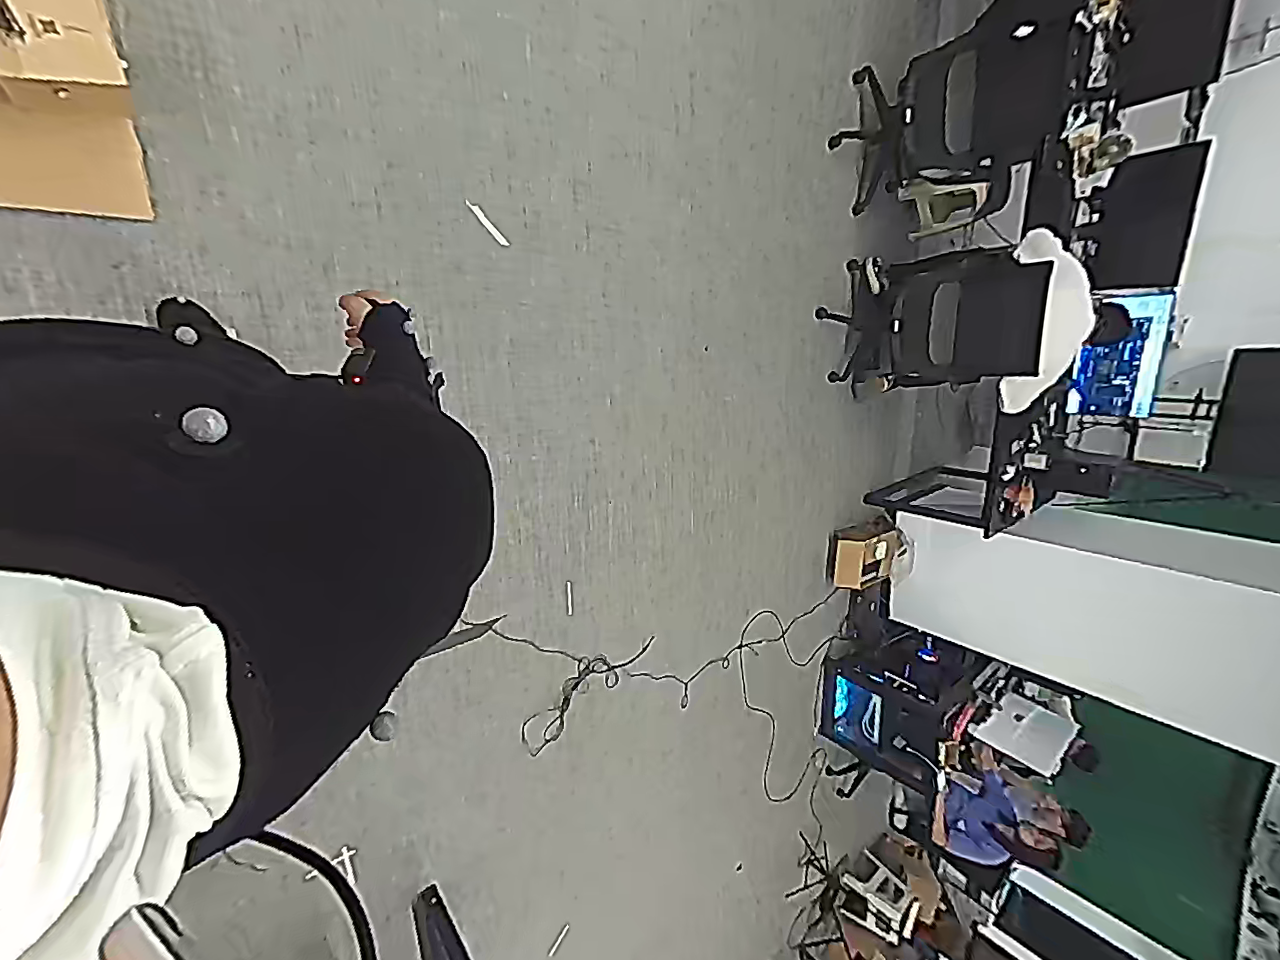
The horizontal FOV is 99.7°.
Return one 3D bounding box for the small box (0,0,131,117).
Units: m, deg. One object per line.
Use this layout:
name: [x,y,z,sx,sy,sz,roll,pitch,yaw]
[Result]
small box: [-1.073,-0.782,0.979,0.179,0.176,0.168,-23,114,-35]
